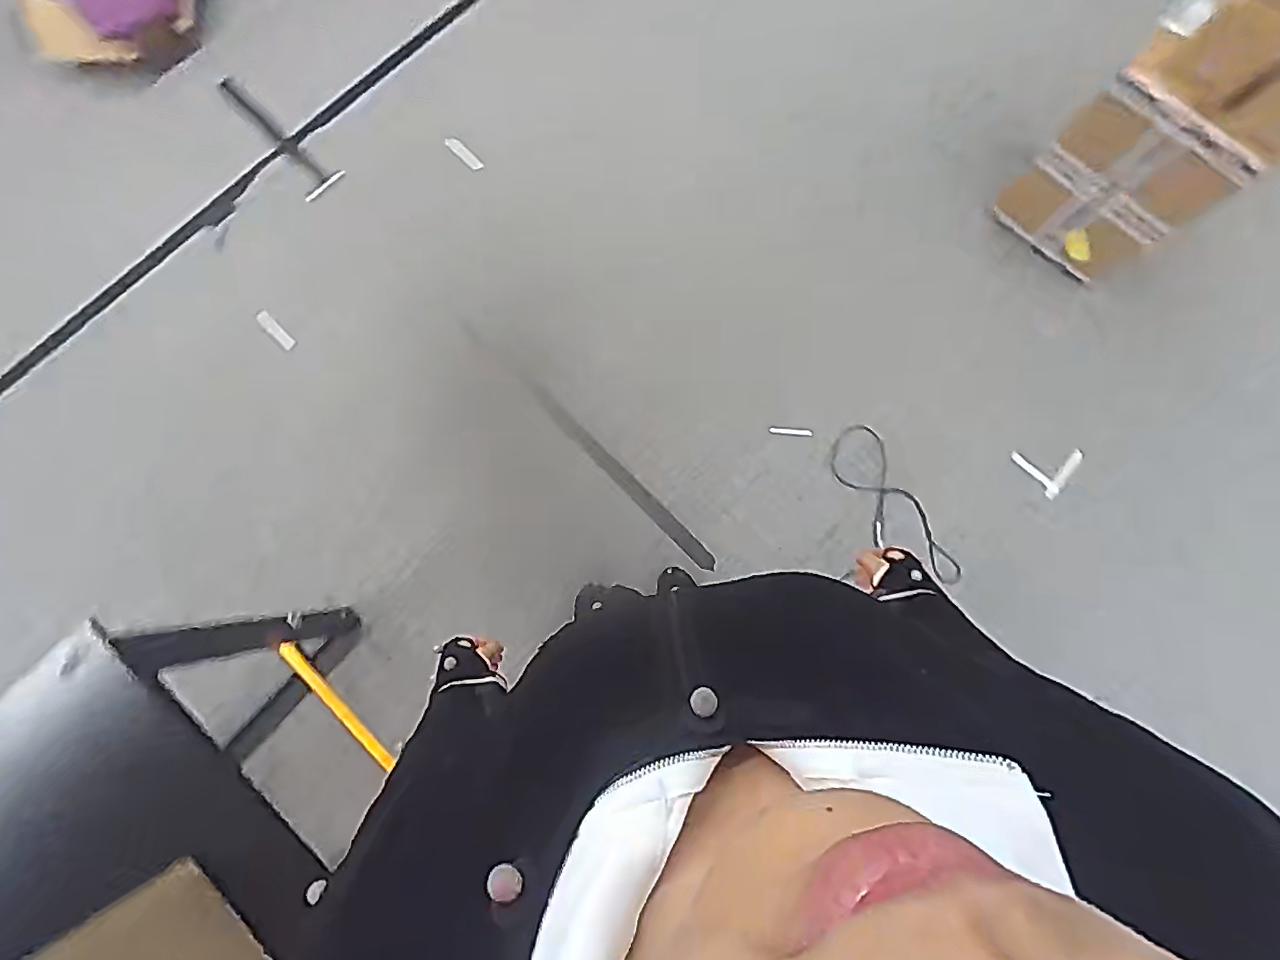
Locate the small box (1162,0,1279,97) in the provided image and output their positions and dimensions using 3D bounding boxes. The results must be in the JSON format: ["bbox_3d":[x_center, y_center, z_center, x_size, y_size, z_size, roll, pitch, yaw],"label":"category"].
[{"bbox_3d":[1.294,-0.984,1.154,0.168,0.176,0.179,41,86,7],"label":"small box"}]

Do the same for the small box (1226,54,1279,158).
[{"bbox_3d":[1.412,-0.833,1.130,0.168,0.176,0.179,43,84,5],"label":"small box"}]
